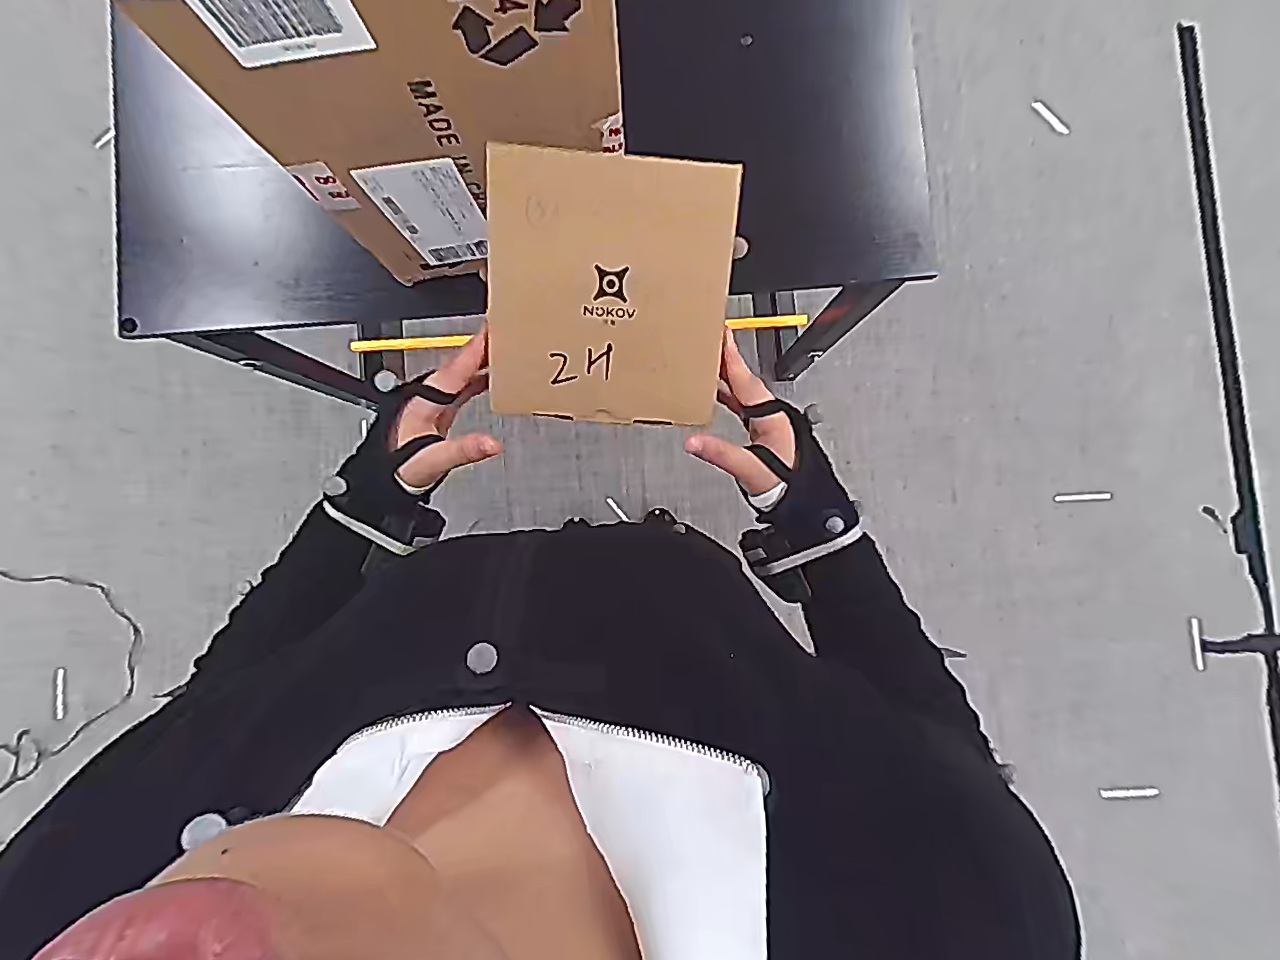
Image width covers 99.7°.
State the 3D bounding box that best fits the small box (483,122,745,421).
[{"bbox_3d":[-0.025,-0.156,0.437,0.168,0.176,0.179,4,108,-3],"label":"small box"}]
